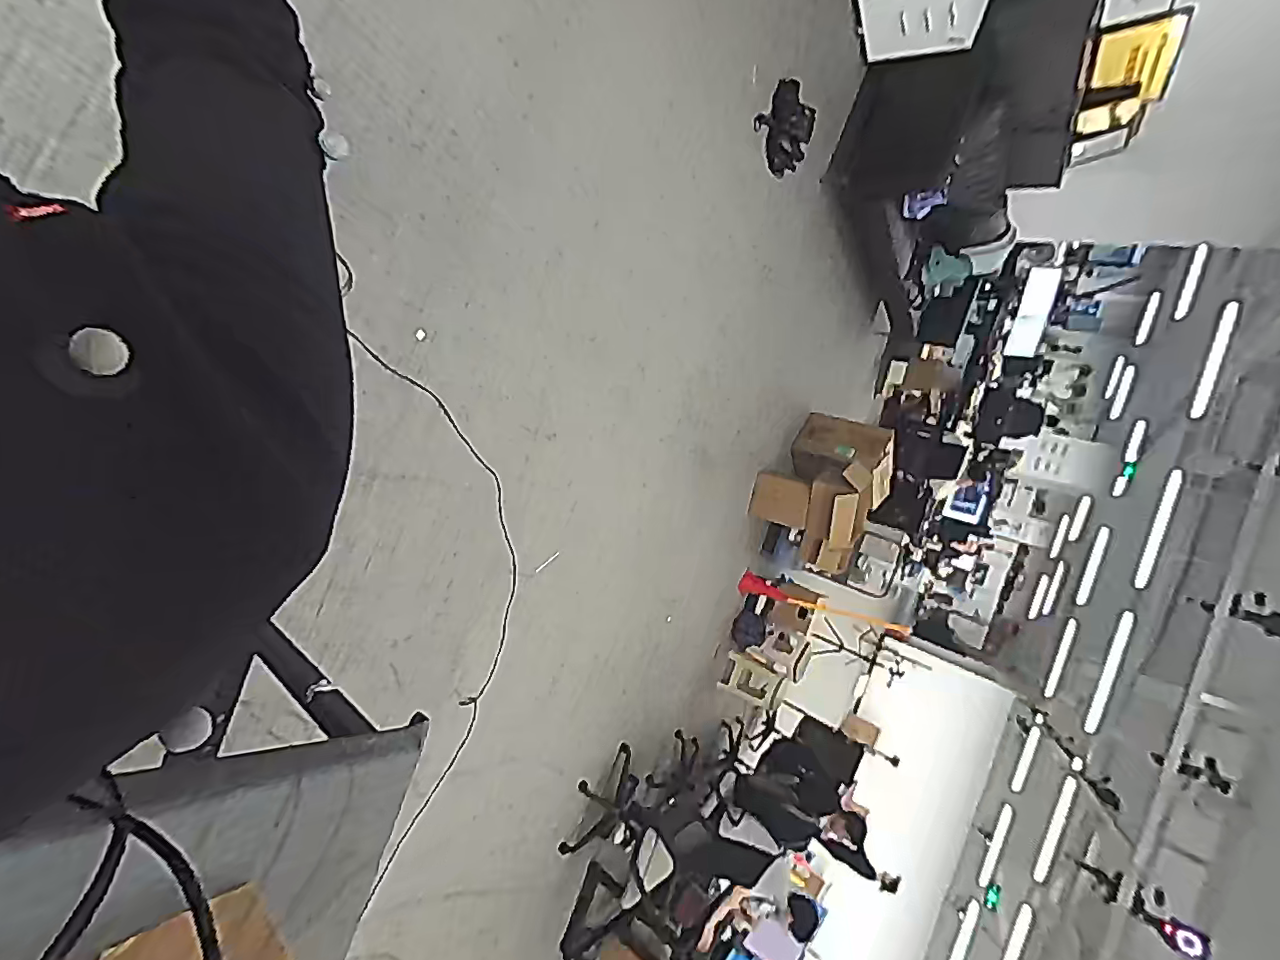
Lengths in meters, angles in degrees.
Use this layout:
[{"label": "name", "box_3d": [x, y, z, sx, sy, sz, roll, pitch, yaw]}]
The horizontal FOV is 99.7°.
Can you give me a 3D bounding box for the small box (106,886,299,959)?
[{"label": "small box", "box_3d": [-0.608, 0.716, 0.738, 0.179, 0.176, 0.168, 6, 100, -55]}]
